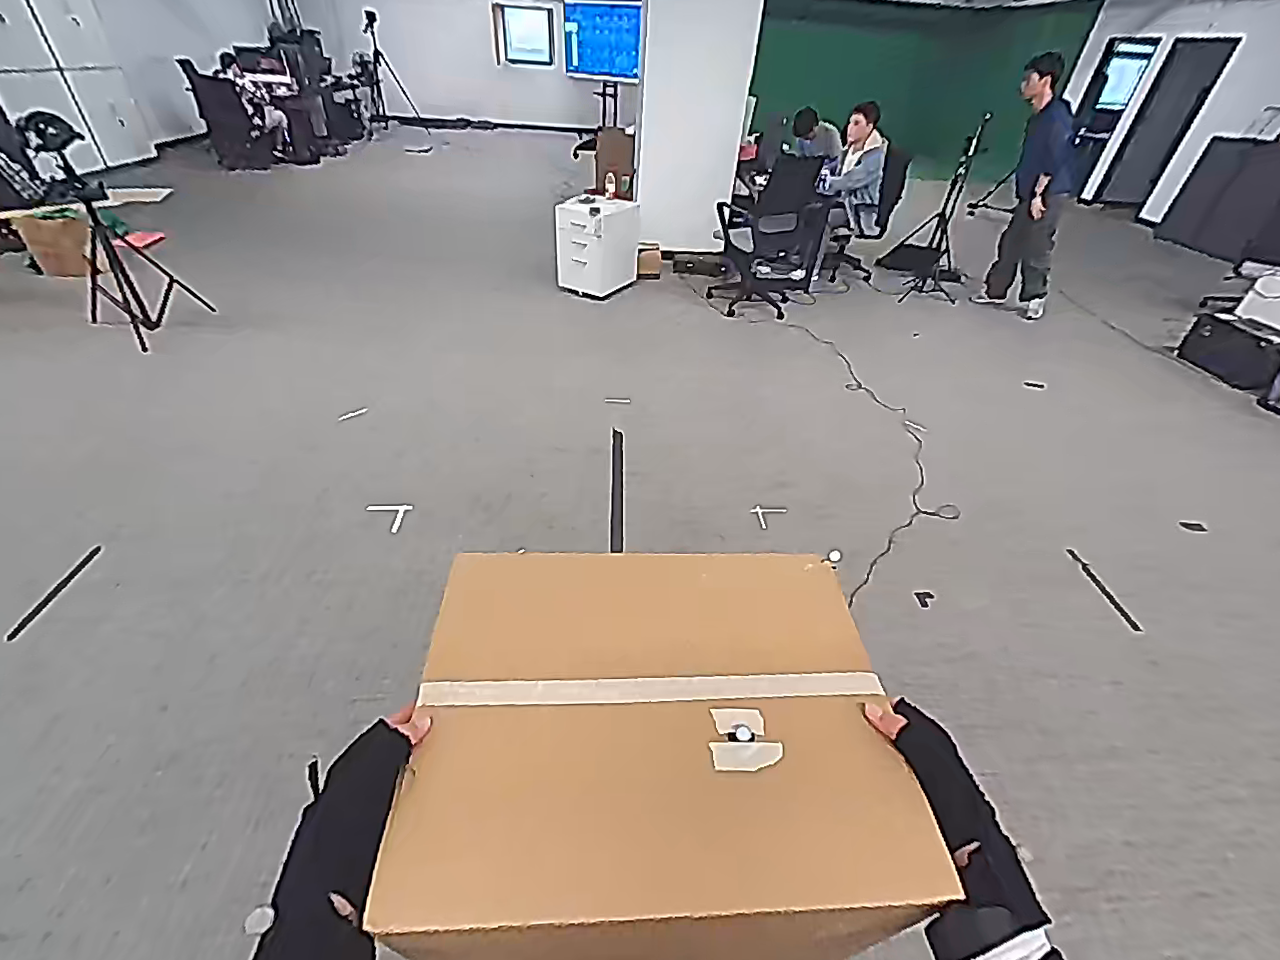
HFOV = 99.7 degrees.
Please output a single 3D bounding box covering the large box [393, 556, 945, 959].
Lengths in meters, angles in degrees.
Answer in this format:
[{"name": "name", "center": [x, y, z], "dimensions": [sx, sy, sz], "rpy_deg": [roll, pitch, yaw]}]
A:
[{"name": "large box", "center": [0.009, 0.299, 0.585], "dimensions": [0.408, 0.320, 0.320], "rpy_deg": [1, 43, -5]}]
